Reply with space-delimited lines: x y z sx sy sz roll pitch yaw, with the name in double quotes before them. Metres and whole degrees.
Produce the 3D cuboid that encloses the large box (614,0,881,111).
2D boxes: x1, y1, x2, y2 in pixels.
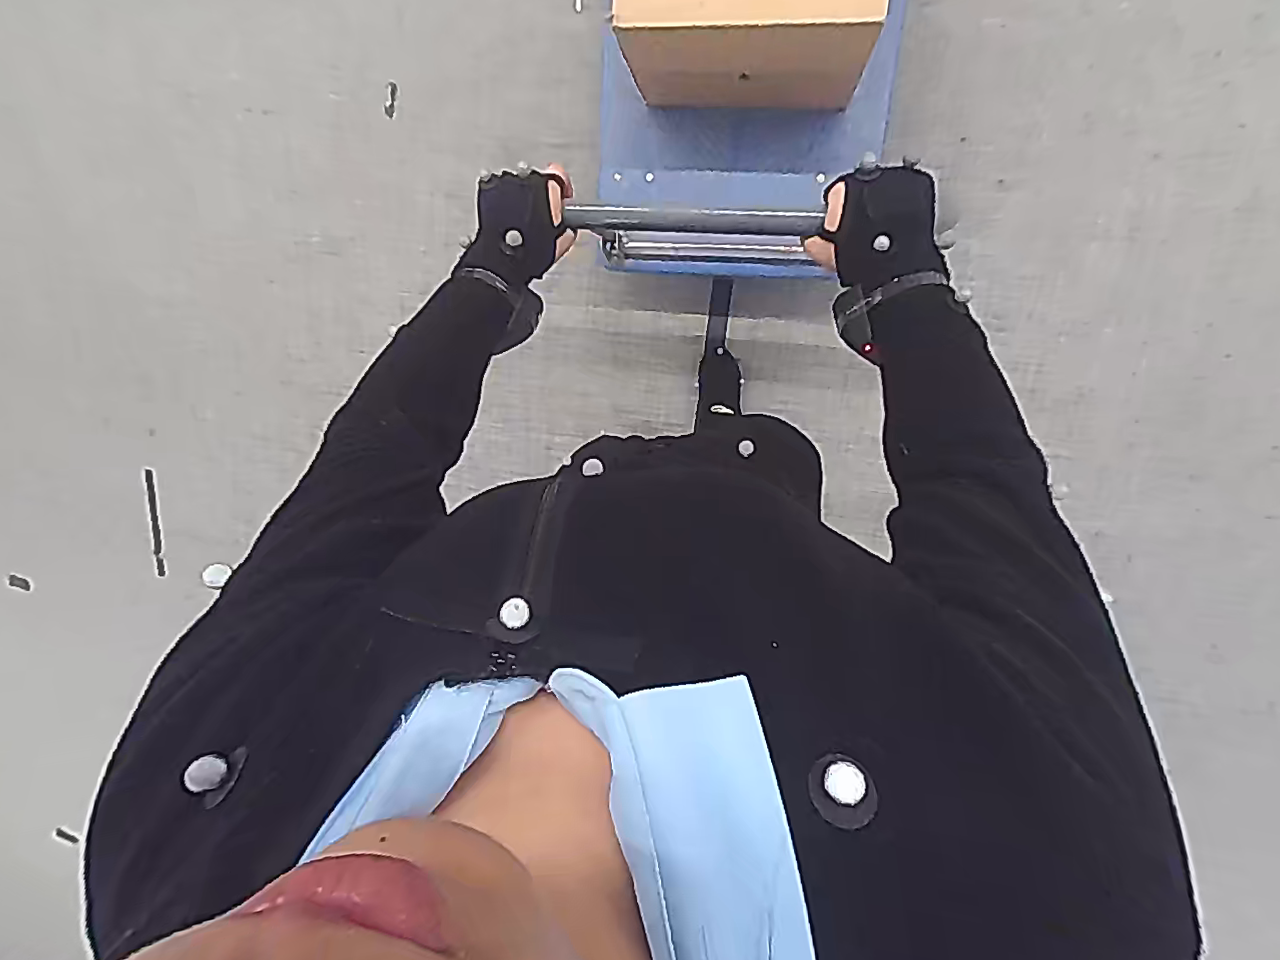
"large box" 0.191 -0.866 0.927 0.408 0.320 0.320 7 105 10
